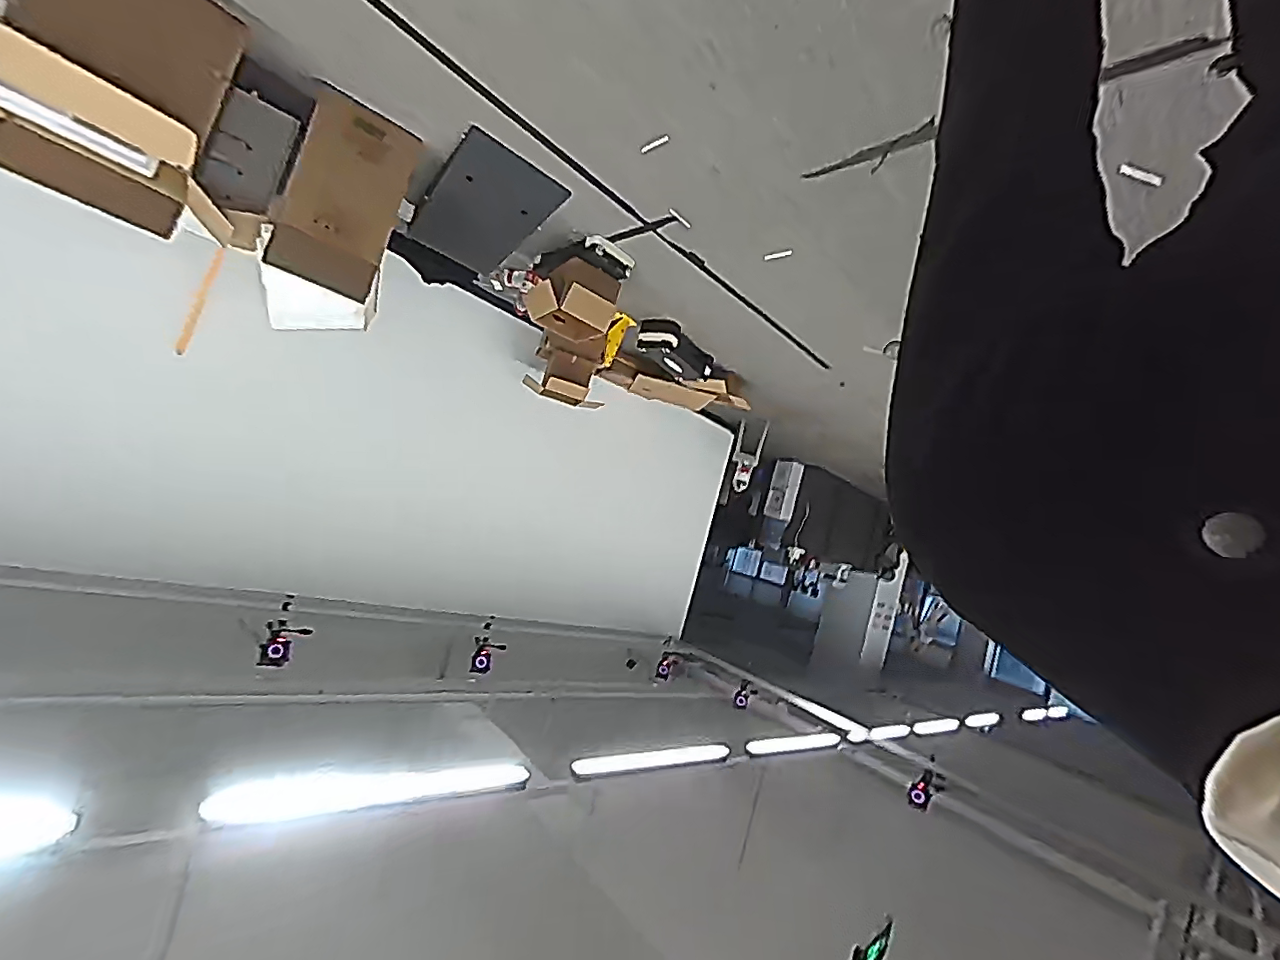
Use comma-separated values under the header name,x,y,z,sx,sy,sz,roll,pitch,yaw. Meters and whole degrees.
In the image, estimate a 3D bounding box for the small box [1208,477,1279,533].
name,x,y,z,sx,sy,sz,roll,pitch,yaw
small box,1.982,0.092,1.743,0.168,0.176,0.179,17,176,-39
